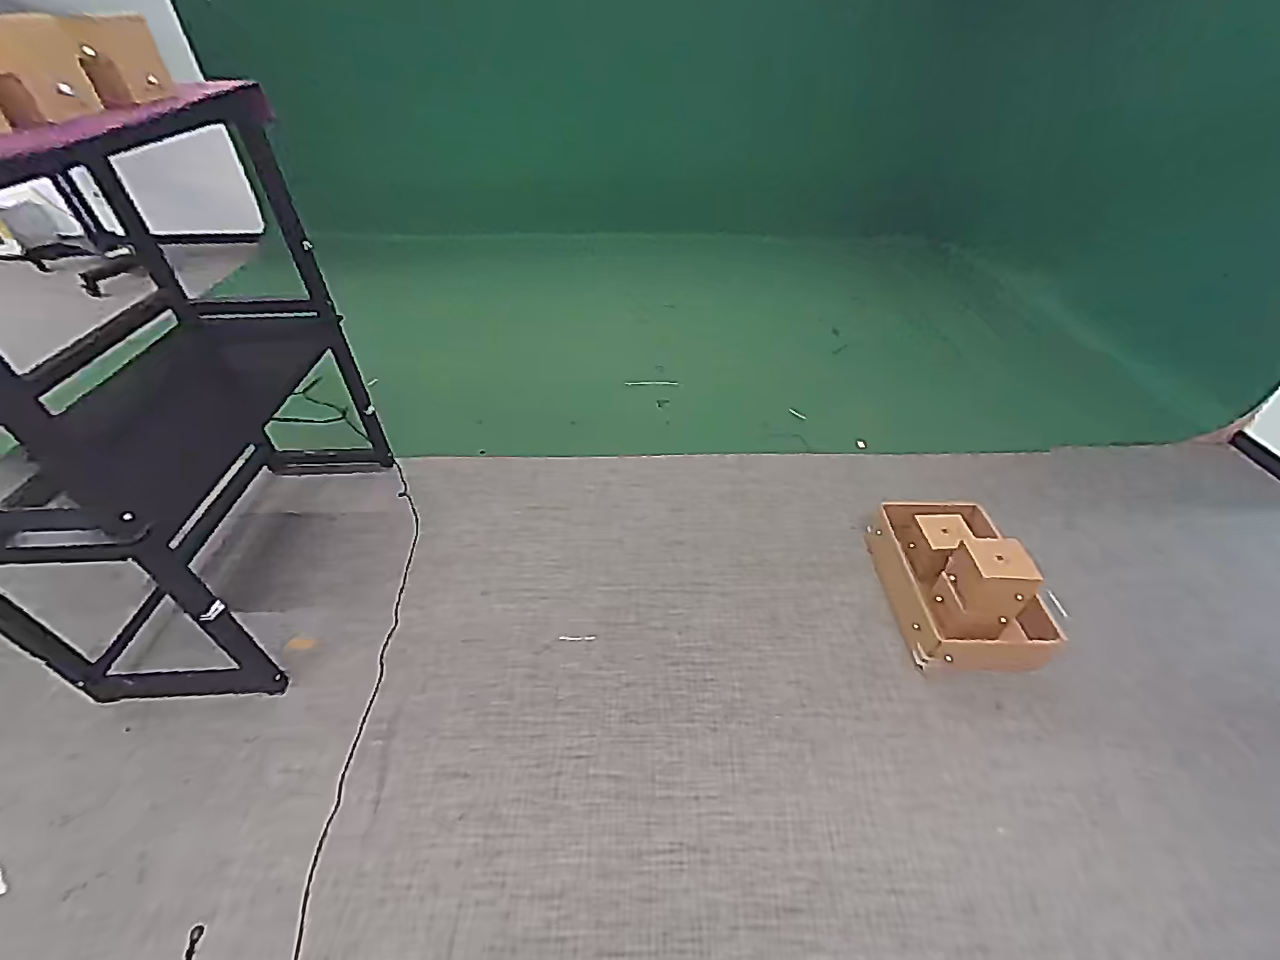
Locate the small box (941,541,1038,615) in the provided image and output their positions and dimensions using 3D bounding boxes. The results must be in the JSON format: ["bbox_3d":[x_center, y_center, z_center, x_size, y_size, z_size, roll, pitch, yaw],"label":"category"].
[{"bbox_3d":[1.092,0.312,1.707,0.179,0.176,0.168,1,40,2],"label":"small box"}]

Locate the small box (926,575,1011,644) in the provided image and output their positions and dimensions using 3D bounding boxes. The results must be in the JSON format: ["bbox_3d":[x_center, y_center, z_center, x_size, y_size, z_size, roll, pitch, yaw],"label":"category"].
[{"bbox_3d":[1.088,0.436,1.814,0.179,0.176,0.168,0,41,0],"label":"small box"}]

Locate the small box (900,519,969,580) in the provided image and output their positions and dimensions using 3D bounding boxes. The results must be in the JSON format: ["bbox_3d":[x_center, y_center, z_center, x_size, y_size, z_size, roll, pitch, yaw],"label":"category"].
[{"bbox_3d":[1.092,0.260,2.007,0.179,0.176,0.168,0,43,0],"label":"small box"}]

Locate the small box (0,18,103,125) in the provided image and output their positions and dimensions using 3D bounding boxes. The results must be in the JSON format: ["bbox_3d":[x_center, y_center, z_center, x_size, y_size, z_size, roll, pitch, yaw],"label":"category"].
[{"bbox_3d":[-1.296,-0.841,1.114,0.179,0.176,0.168,-1,42,-1],"label":"small box"}]
